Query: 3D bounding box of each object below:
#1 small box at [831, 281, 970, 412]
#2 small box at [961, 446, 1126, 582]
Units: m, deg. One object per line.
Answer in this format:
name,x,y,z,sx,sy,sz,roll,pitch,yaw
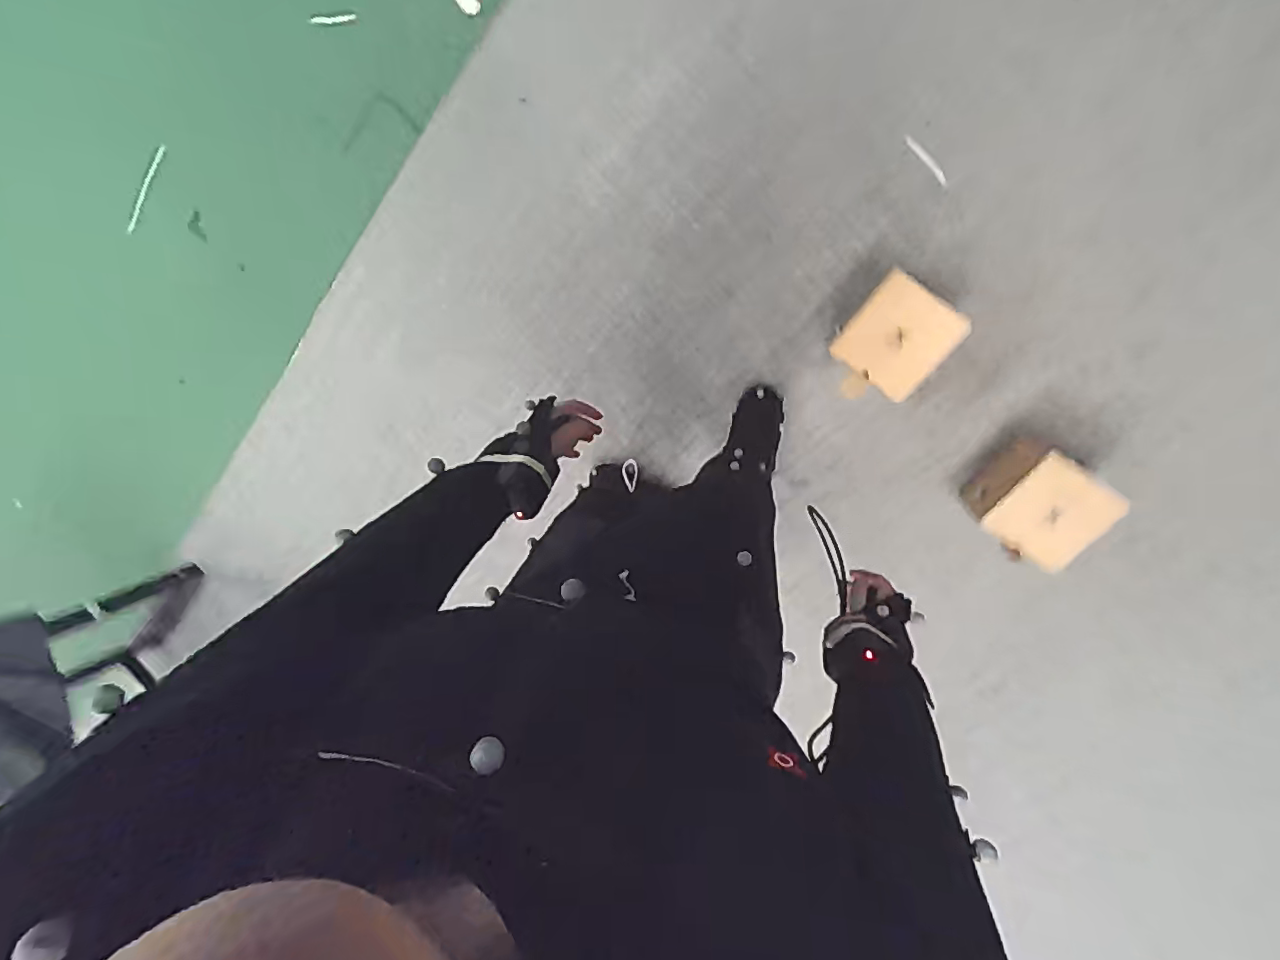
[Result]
small box,0.489,-0.260,1.050,0.168,0.176,0.179,39,113,4
small box,0.763,0.058,1.052,0.168,0.176,0.179,36,111,4
